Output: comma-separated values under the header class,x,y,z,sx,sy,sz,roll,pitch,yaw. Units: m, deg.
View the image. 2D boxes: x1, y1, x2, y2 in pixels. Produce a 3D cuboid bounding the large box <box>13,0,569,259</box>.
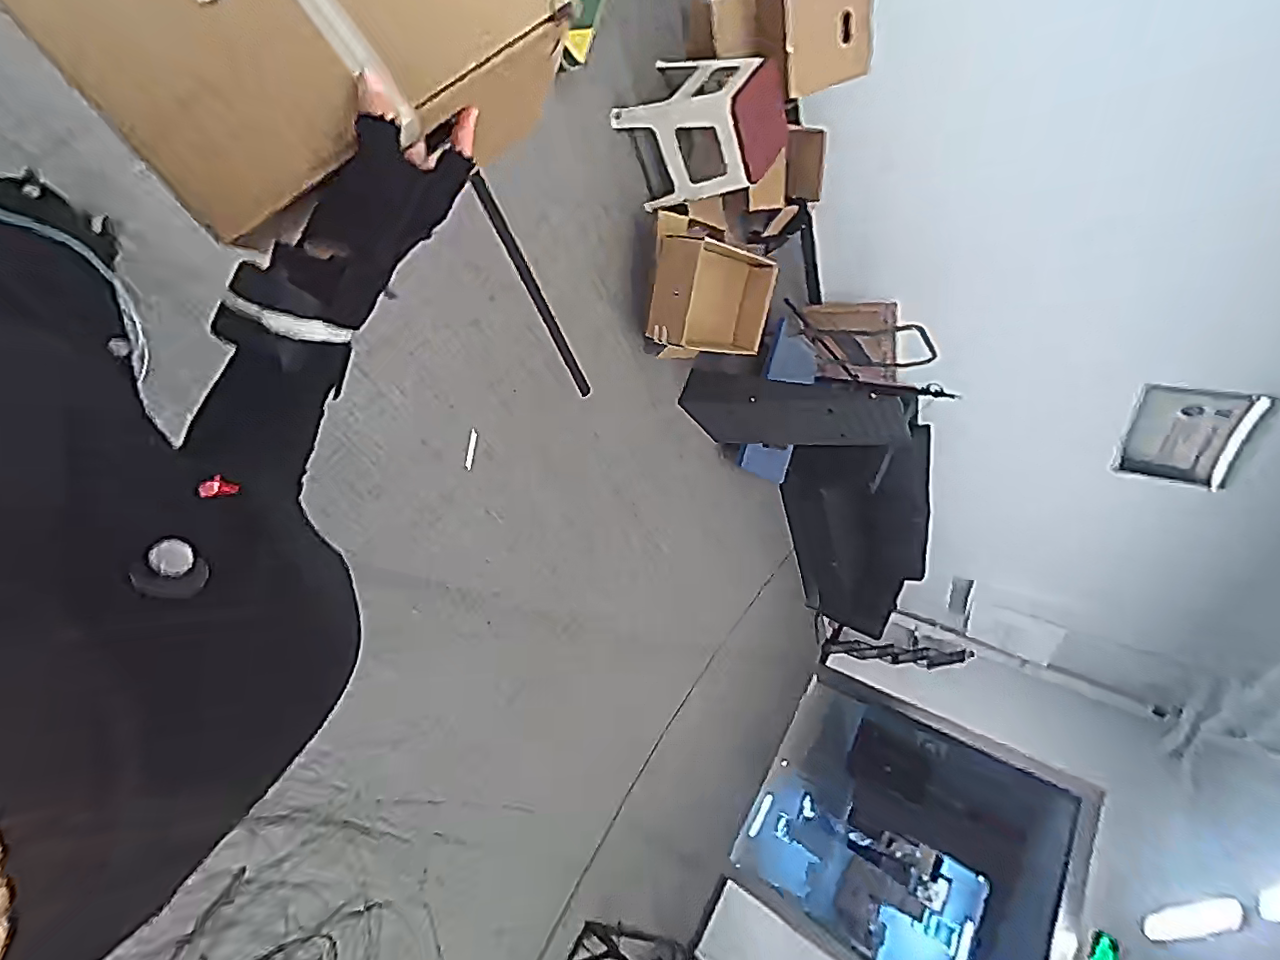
class,x,y,z,sx,sy,sz,roll,pitch,yaw
large box,-0.323,-0.457,0.454,0.320,0.320,0.408,-36,115,-2
